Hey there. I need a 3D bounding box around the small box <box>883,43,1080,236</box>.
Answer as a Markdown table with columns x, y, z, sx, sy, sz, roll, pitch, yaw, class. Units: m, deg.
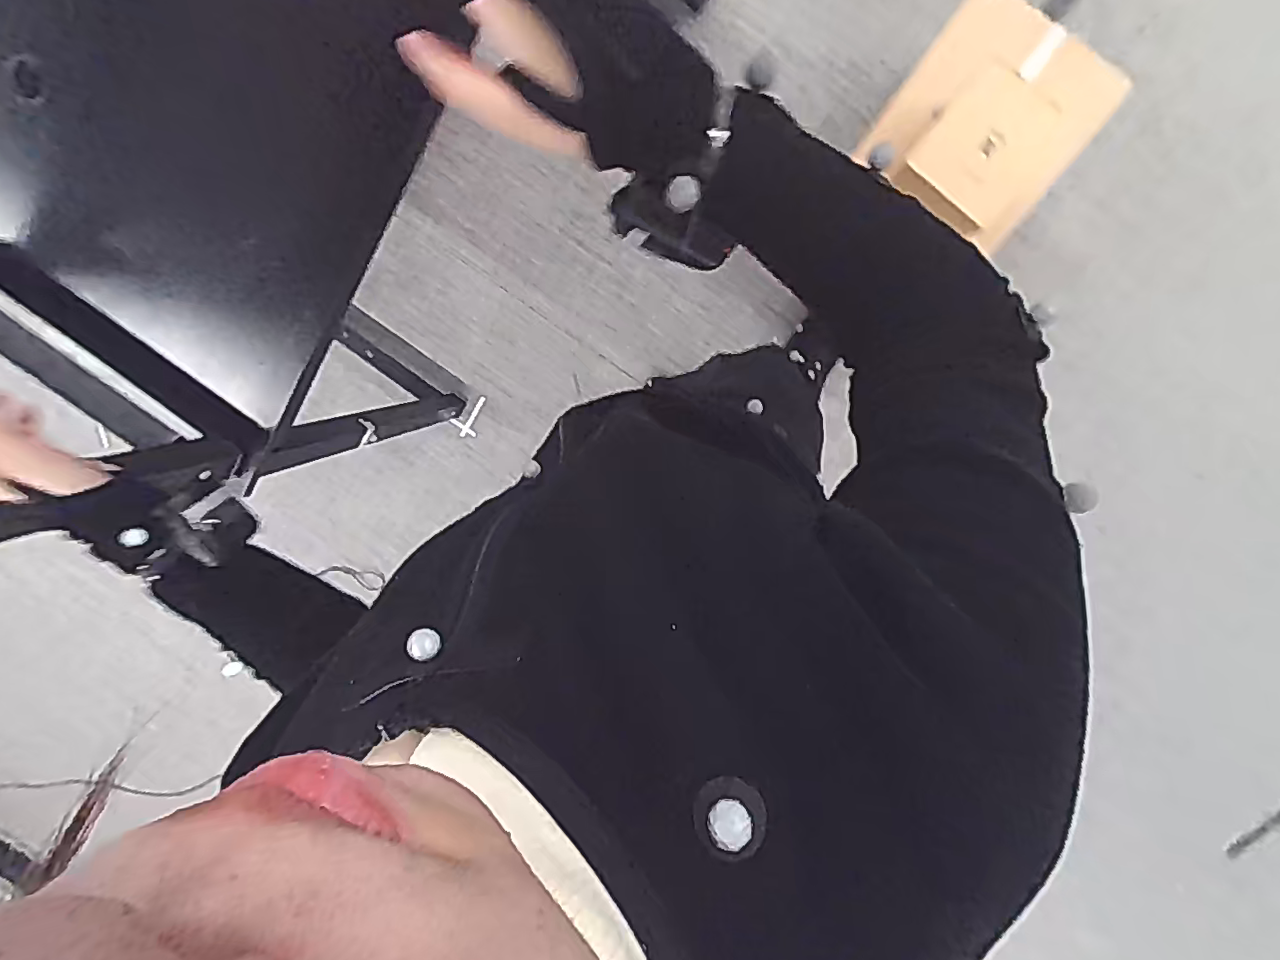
| x | y | z | sx | sy | sz | roll | pitch | yaw | class |
| --- | --- | --- | --- | --- | --- | --- | --- | --- | --- |
| 0.527 | -0.526 | 0.867 | 0.168 | 0.176 | 0.179 | 39 | 107 | -2 | small box |
